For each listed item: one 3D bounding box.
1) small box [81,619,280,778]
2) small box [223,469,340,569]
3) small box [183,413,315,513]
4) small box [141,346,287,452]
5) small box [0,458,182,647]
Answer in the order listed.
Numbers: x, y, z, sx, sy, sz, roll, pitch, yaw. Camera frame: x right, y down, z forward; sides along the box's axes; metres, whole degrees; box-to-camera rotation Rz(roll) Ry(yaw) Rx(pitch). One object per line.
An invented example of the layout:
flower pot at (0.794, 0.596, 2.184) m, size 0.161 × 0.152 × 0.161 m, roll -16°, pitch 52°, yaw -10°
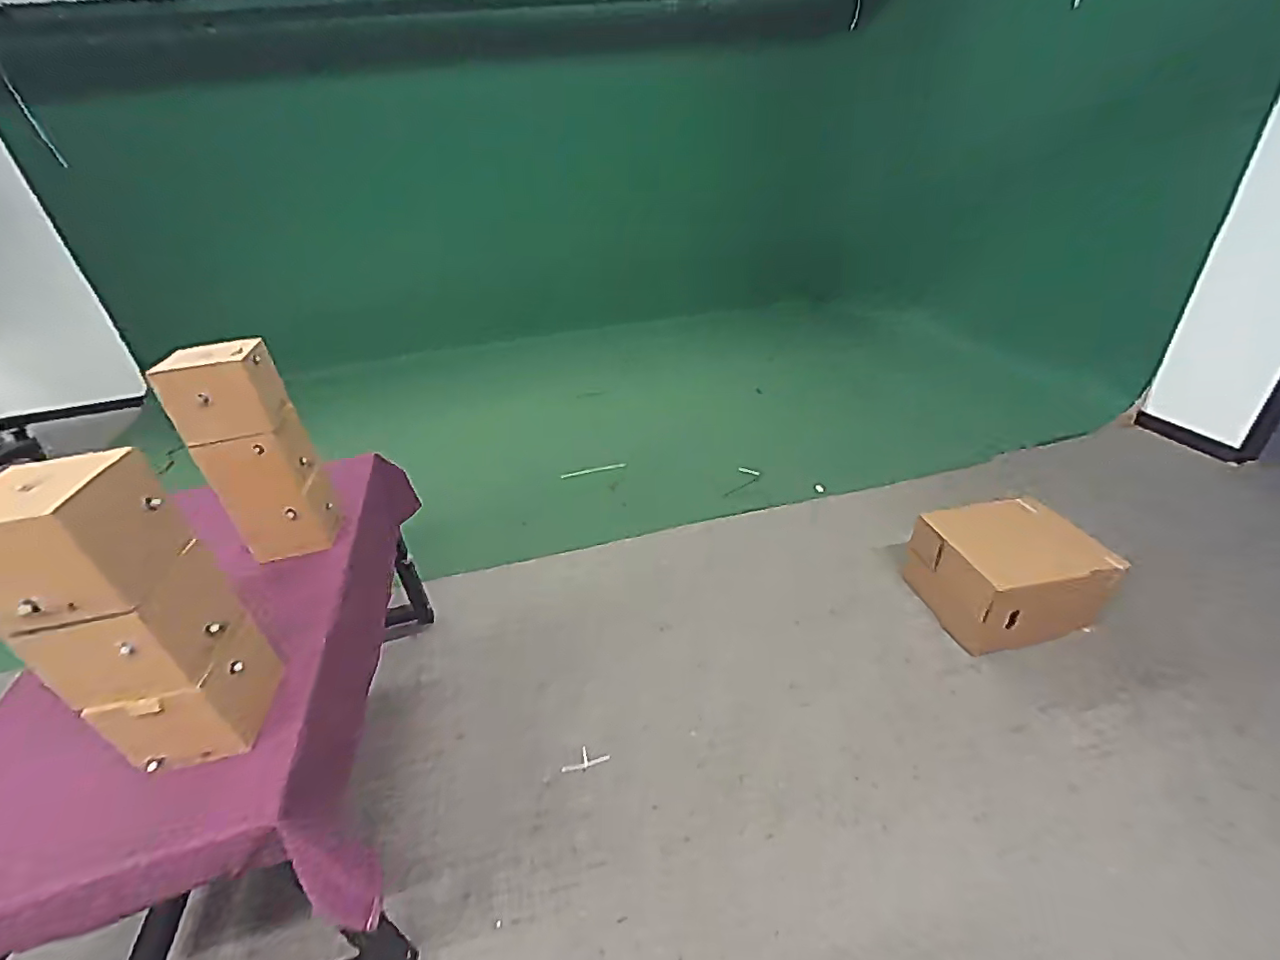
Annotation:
small box at (-0.748, 0.370, 0.910) m, size 0.168 × 0.176 × 0.179 m, roll -11°, pitch 32°, yaw -8°
small box at (-0.888, 0.099, 1.364) m, size 0.179 × 0.176 × 0.168 m, roll -13°, pitch 32°, yaw -10°
small box at (-0.912, -0.039, 1.280) m, size 0.179 × 0.176 × 0.168 m, roll -12°, pitch 33°, yaw -10°
small box at (-0.924, -0.179, 1.193) m, size 0.179 × 0.176 × 0.168 m, roll -14°, pitch 34°, yaw -13°
small box at (-0.782, 0.094, 0.737) m, size 0.168 × 0.176 × 0.179 m, roll -11°, pitch 33°, yaw -7°
